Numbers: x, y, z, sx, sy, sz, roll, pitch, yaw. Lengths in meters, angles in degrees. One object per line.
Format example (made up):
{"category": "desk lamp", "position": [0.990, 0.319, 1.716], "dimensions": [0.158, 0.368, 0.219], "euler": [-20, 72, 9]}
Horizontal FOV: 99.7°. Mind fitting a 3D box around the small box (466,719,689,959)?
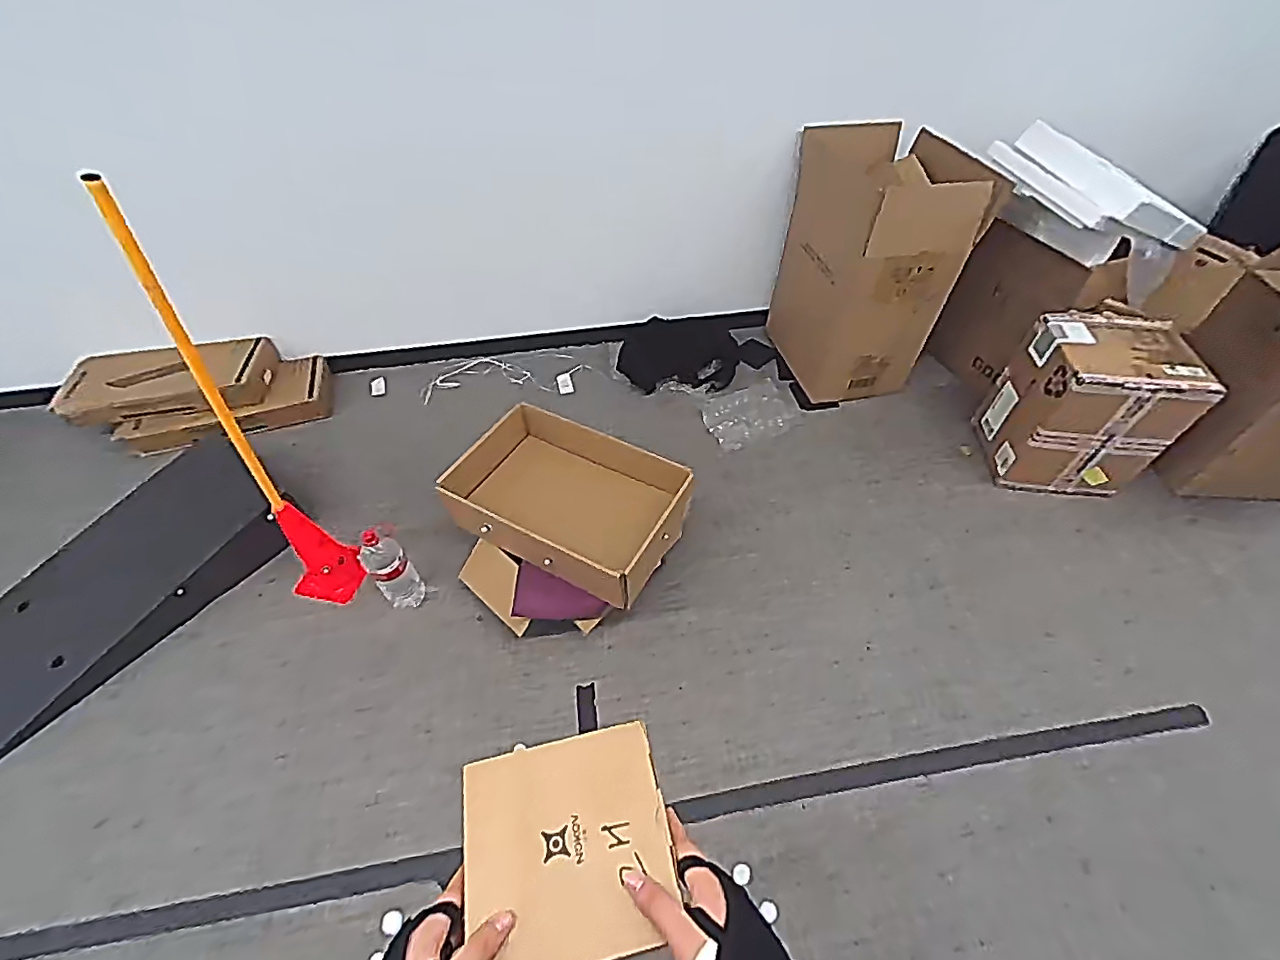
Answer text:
{"category": "small box", "position": [-0.055, 0.358, 0.522], "dimensions": [0.179, 0.176, 0.168], "euler": [-12, 51, -6]}
